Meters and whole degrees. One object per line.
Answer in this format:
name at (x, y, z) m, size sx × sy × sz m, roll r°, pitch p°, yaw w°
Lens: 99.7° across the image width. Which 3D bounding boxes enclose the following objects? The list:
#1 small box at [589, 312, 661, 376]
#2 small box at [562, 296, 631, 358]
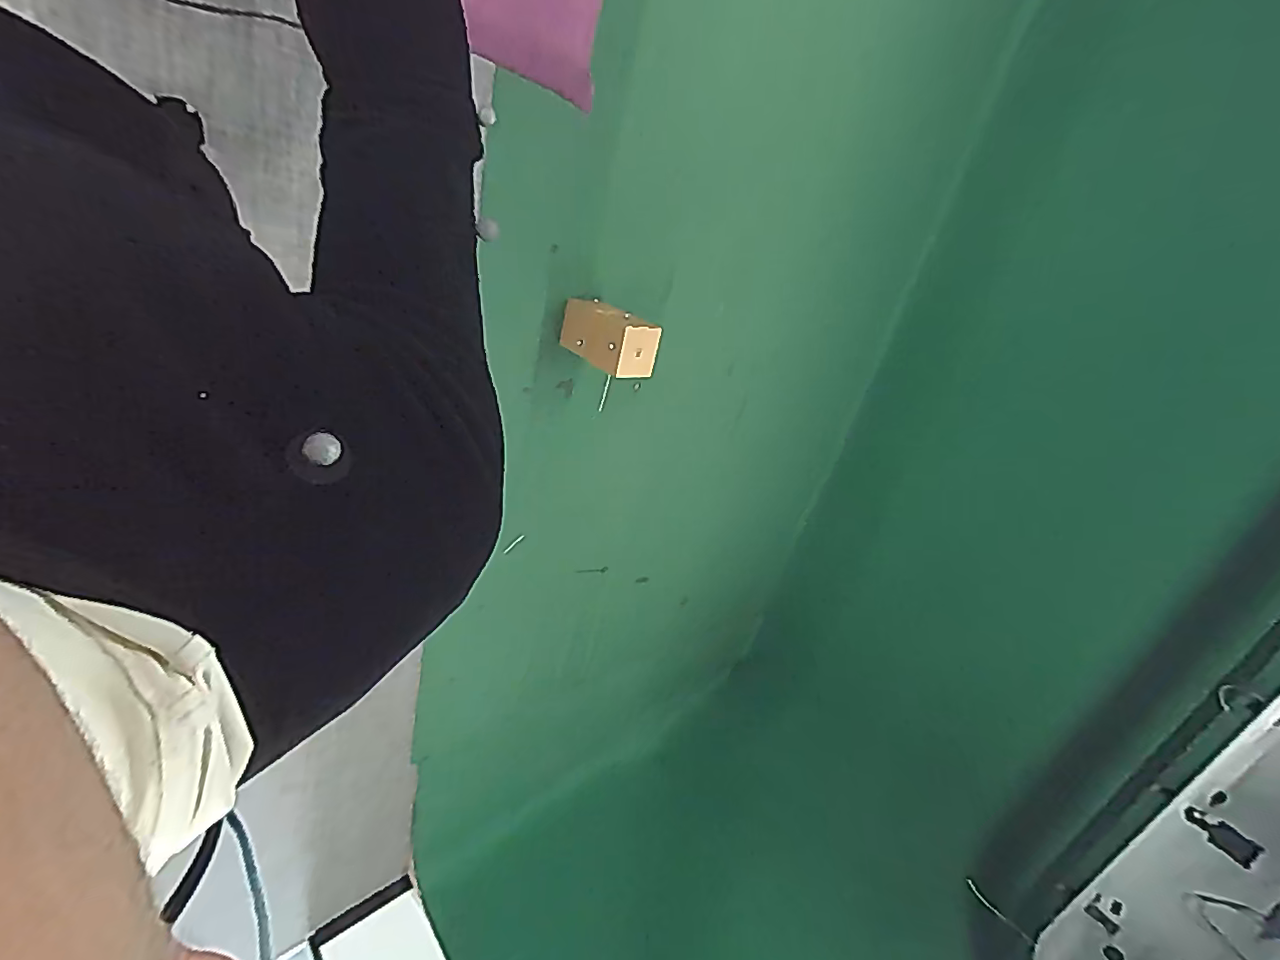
small box at (-0.057, -0.468, 1.861) m, size 0.168 × 0.176 × 0.179 m, roll -11°, pitch 124°, yaw -42°
small box at (-0.163, -0.548, 1.954) m, size 0.168 × 0.176 × 0.179 m, roll -8°, pitch 123°, yaw -44°
